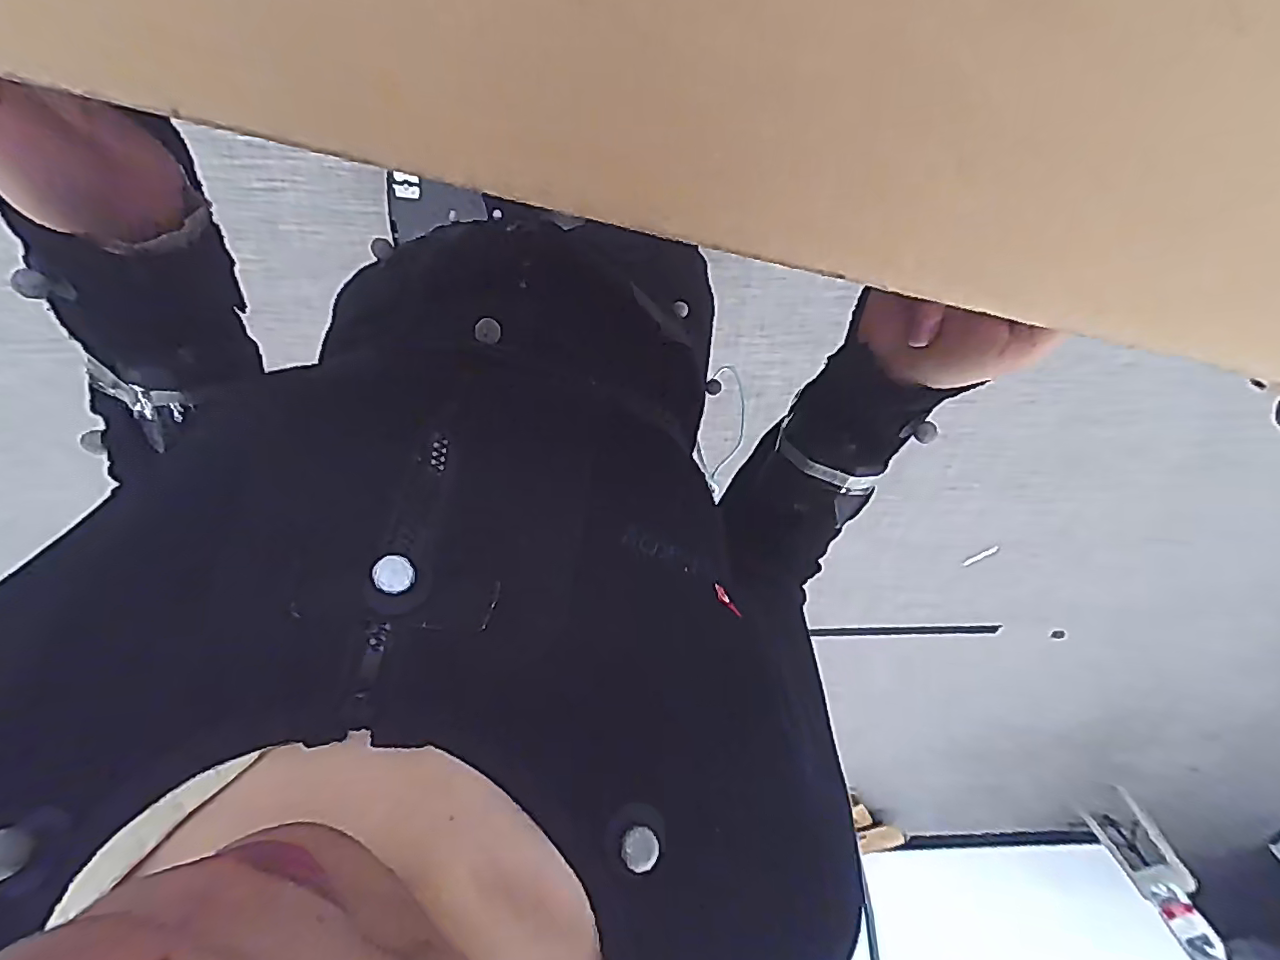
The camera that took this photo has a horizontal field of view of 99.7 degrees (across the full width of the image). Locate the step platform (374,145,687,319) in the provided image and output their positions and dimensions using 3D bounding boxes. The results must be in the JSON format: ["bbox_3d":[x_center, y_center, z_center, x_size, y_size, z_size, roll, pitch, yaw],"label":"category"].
[{"bbox_3d":[-0.236,-0.567,1.248,0.684,0.204,0.286,6,124,-6],"label":"step platform"}]
